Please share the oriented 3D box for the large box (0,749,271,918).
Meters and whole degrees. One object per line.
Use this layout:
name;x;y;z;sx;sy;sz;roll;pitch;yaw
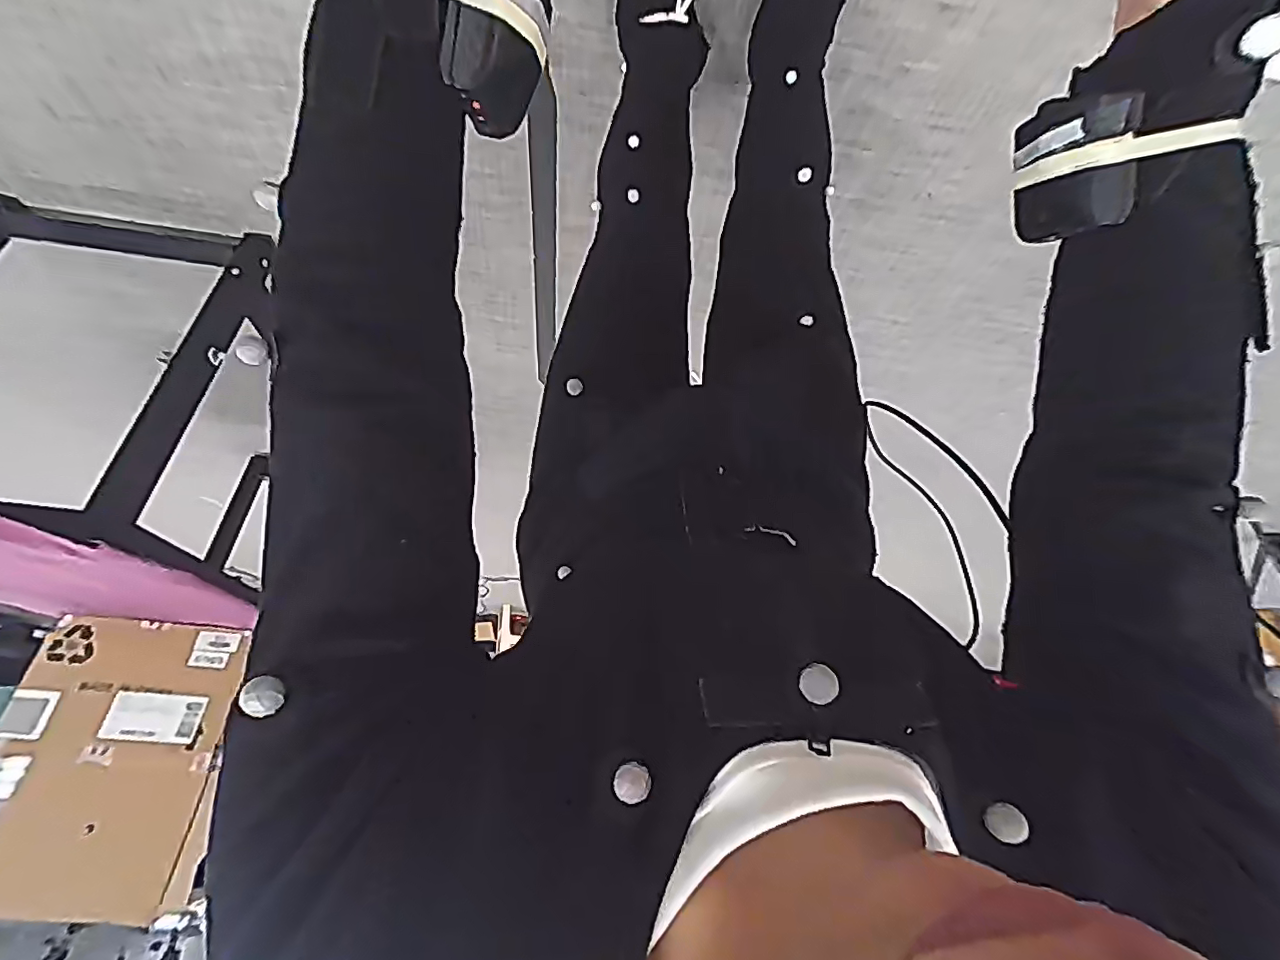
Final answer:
large box;-1.247;0.854;1.346;0.408;0.320;0.320;6;154;-5
